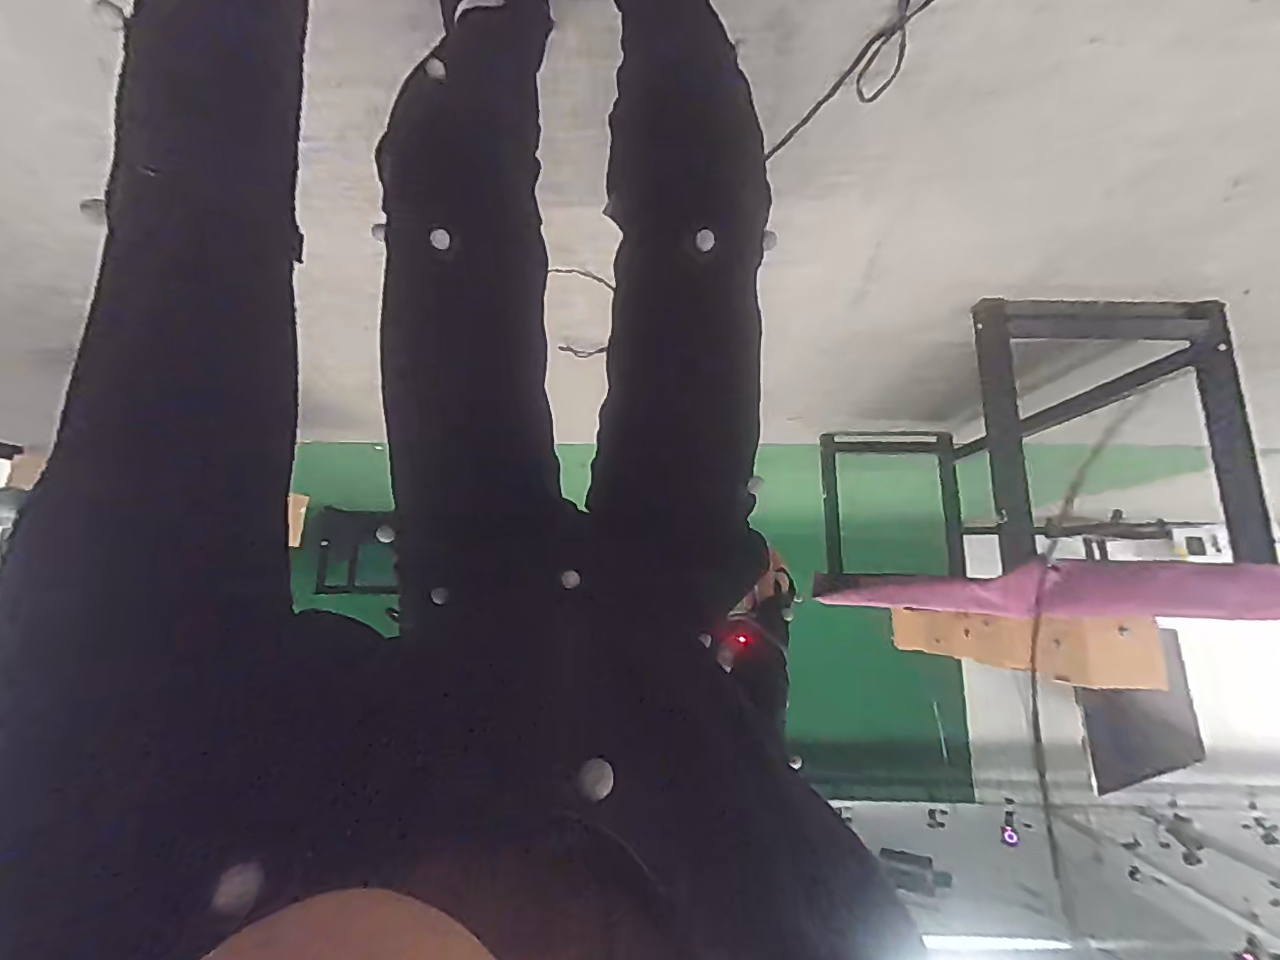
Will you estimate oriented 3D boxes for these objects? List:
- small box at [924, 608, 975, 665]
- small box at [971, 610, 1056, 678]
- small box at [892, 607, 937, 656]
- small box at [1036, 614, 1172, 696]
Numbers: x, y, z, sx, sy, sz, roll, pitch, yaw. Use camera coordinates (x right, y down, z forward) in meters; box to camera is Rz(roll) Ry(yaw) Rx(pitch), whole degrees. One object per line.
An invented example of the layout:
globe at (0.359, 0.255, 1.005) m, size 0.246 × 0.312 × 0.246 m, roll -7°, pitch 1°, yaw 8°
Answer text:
small box at (1.067, 0.515, 1.791) m, size 0.168 × 0.176 × 0.179 m, roll 2°, pitch 168°, yaw -3°
small box at (1.078, 0.461, 1.537) m, size 0.179 × 0.176 × 0.168 m, roll 1°, pitch 168°, yaw 4°
small box at (1.056, 0.570, 2.043) m, size 0.168 × 0.176 × 0.179 m, roll -4°, pitch 167°, yaw 20°
small box at (1.079, 0.404, 1.275) m, size 0.179 × 0.176 × 0.168 m, roll 2°, pitch 168°, yaw -1°
